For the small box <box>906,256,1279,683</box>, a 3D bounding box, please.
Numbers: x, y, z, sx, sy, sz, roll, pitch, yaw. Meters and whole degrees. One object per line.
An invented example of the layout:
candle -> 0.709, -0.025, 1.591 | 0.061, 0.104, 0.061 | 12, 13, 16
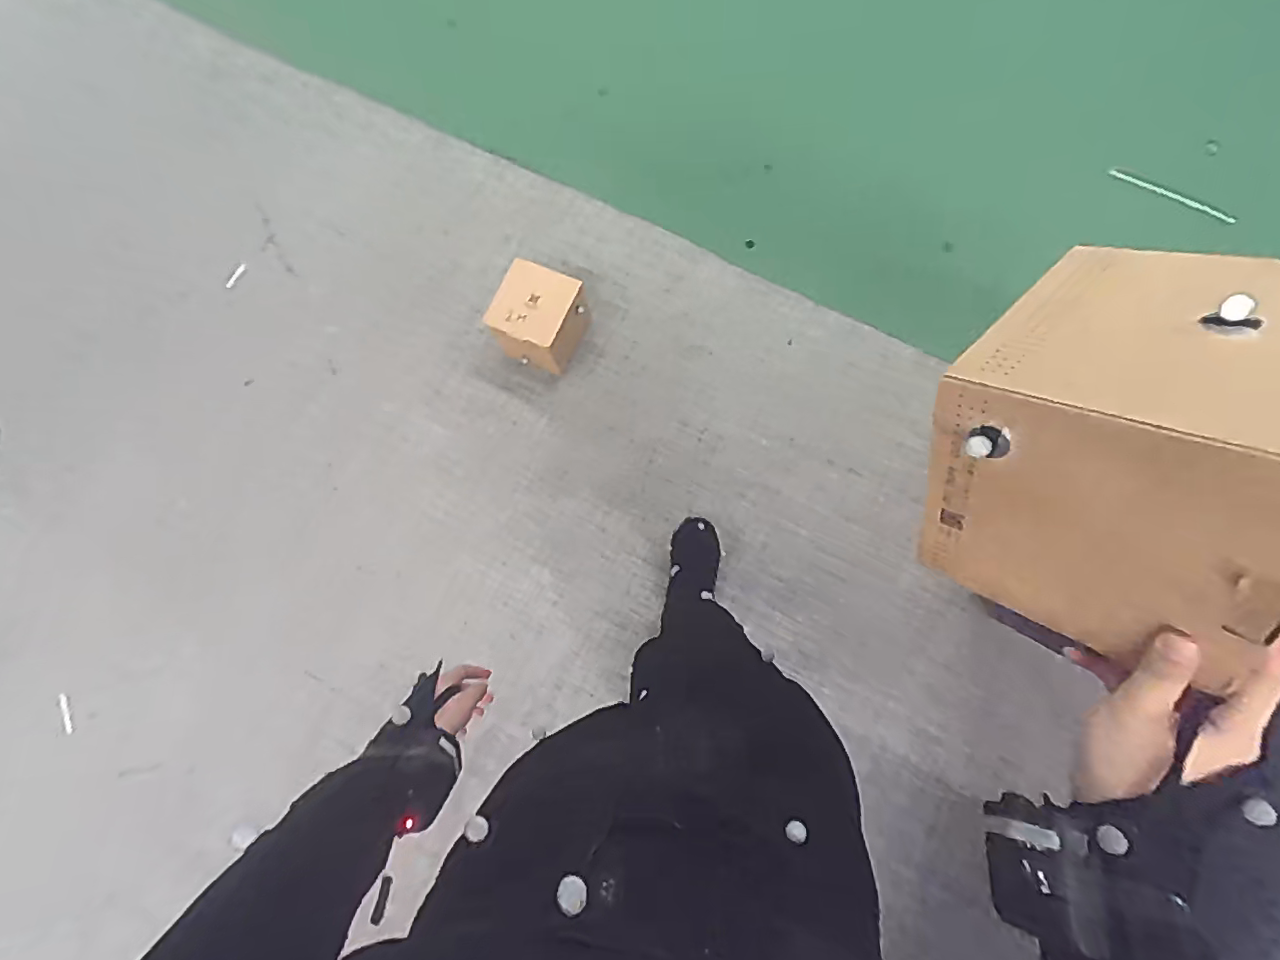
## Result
small box -> 0.288, -0.023, 0.336 | 0.179, 0.168, 0.176 | -40, 44, -24

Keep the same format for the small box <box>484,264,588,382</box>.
small box -> -0.232, -0.360, 1.264 | 0.168, 0.176, 0.179 | 23, 80, 7
